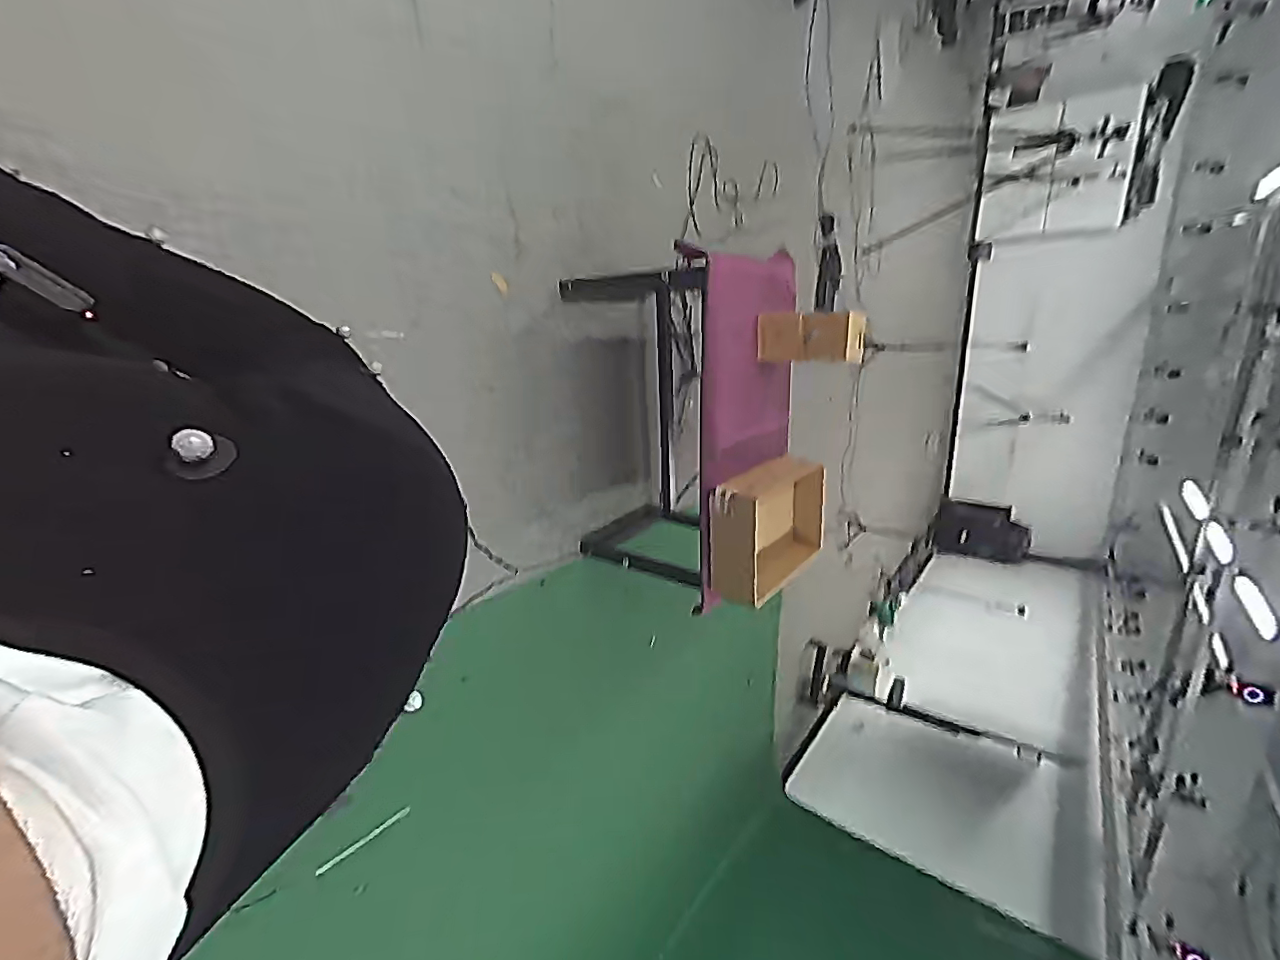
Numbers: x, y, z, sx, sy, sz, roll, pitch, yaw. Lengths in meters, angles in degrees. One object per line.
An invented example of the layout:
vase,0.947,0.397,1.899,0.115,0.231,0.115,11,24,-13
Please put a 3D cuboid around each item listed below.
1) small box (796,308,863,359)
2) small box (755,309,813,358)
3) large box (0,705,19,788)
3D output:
small box,0.666,-0.512,1.898,0.179,0.176,0.168,-17,111,-49
small box,0.535,-0.540,1.994,0.179,0.176,0.168,-24,116,-48
large box,-1.360,0.464,0.842,0.320,0.320,0.408,-54,137,-28
